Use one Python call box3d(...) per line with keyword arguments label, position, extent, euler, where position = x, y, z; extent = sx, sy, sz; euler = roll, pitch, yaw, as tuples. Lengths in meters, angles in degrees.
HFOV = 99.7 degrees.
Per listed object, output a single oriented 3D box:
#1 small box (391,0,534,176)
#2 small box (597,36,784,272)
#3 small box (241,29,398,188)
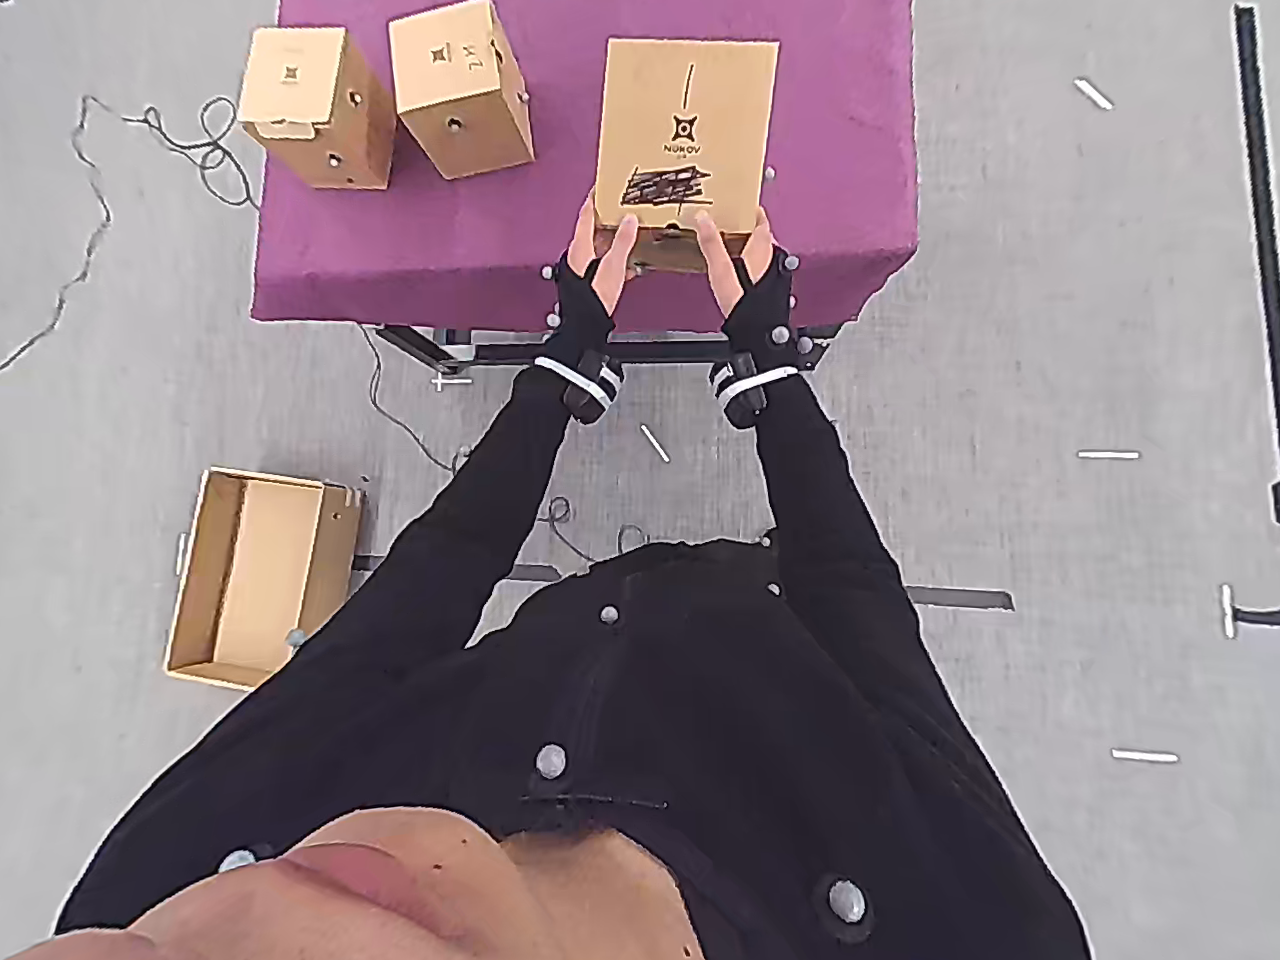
box3d(label="small box", position=(-0.300, -0.663, 0.936), extent=(0.179, 0.176, 0.168), euler=(-8, 84, 5))
box3d(label="small box", position=(0.057, -0.344, 0.603), extent=(0.168, 0.176, 0.179), euler=(7, 98, 6))
box3d(label="small box", position=(-0.559, -0.652, 0.967), extent=(0.168, 0.176, 0.179), euler=(6, 84, 6))
